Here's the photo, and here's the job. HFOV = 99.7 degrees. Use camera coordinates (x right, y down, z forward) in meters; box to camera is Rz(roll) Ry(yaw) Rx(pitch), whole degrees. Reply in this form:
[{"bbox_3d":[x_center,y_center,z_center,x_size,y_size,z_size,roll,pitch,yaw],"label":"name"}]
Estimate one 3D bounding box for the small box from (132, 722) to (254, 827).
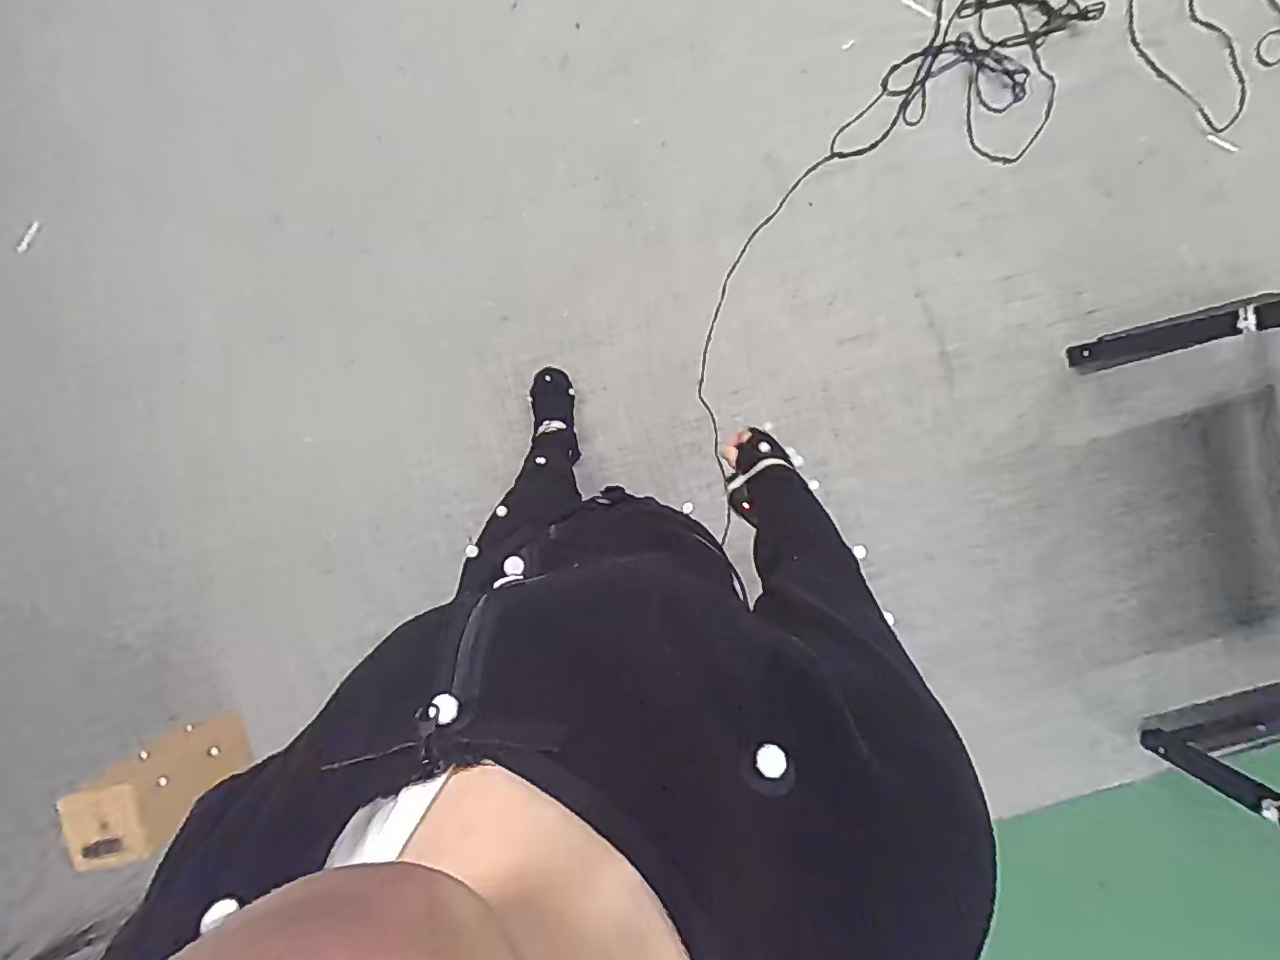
[{"bbox_3d":[-1.164,0.760,1.421,0.168,0.176,0.179,-11,94,-1],"label":"small box"}]
